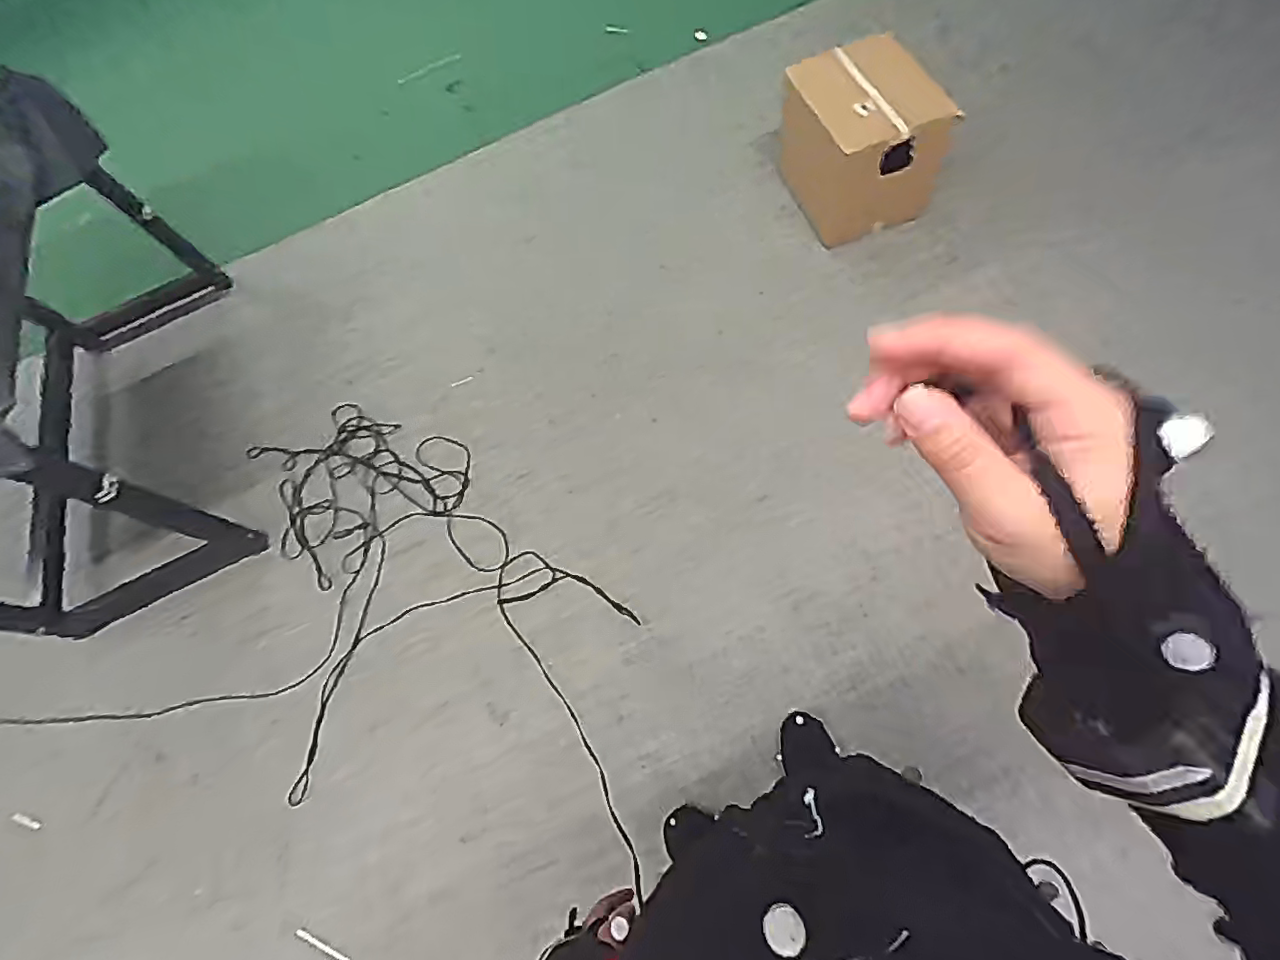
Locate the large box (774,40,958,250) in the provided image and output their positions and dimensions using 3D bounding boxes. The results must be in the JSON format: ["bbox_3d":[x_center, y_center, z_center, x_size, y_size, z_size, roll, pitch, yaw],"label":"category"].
[{"bbox_3d":[0.624,-0.969,1.584,0.320,0.320,0.408,-20,66,2],"label":"large box"}]
